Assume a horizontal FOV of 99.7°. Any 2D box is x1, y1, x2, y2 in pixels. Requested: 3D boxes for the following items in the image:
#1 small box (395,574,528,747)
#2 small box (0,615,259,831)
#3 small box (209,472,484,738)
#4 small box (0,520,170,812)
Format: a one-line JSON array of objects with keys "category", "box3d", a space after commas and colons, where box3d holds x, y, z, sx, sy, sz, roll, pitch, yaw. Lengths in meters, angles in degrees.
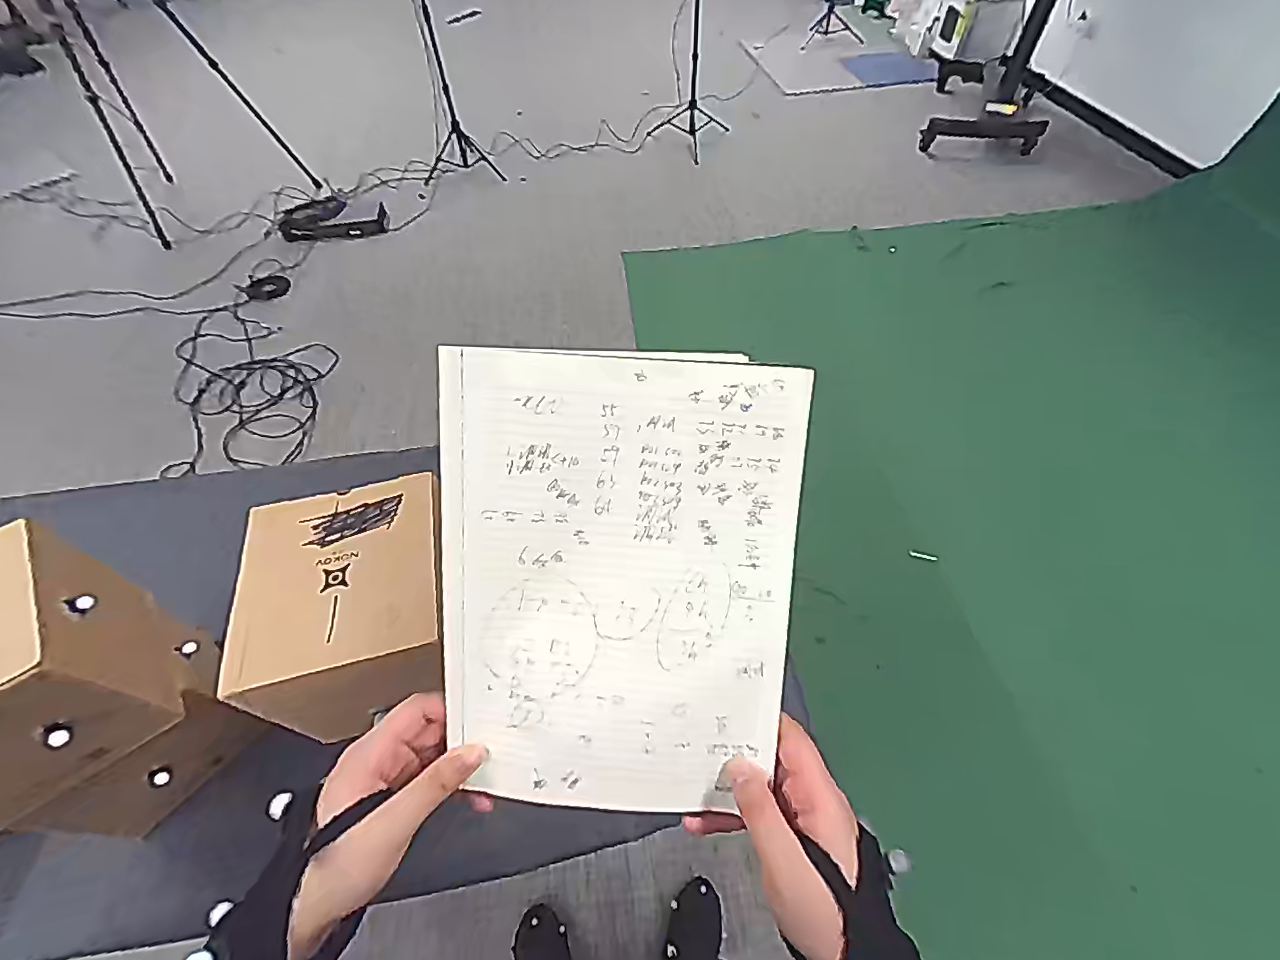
[{"category": "small box", "box3d": [-0.257, 0.207, 0.661, 0.179, 0.176, 0.168, 15, 55, 13]}, {"category": "small box", "box3d": [-0.593, 0.268, 0.622, 0.179, 0.176, 0.168, 34, 60, 23]}, {"category": "small box", "box3d": [-0.256, 0.122, 0.519, 0.168, 0.176, 0.179, -13, 55, -7]}, {"category": "small box", "box3d": [-0.578, 0.176, 0.488, 0.168, 0.176, 0.179, -32, 59, -22]}]
